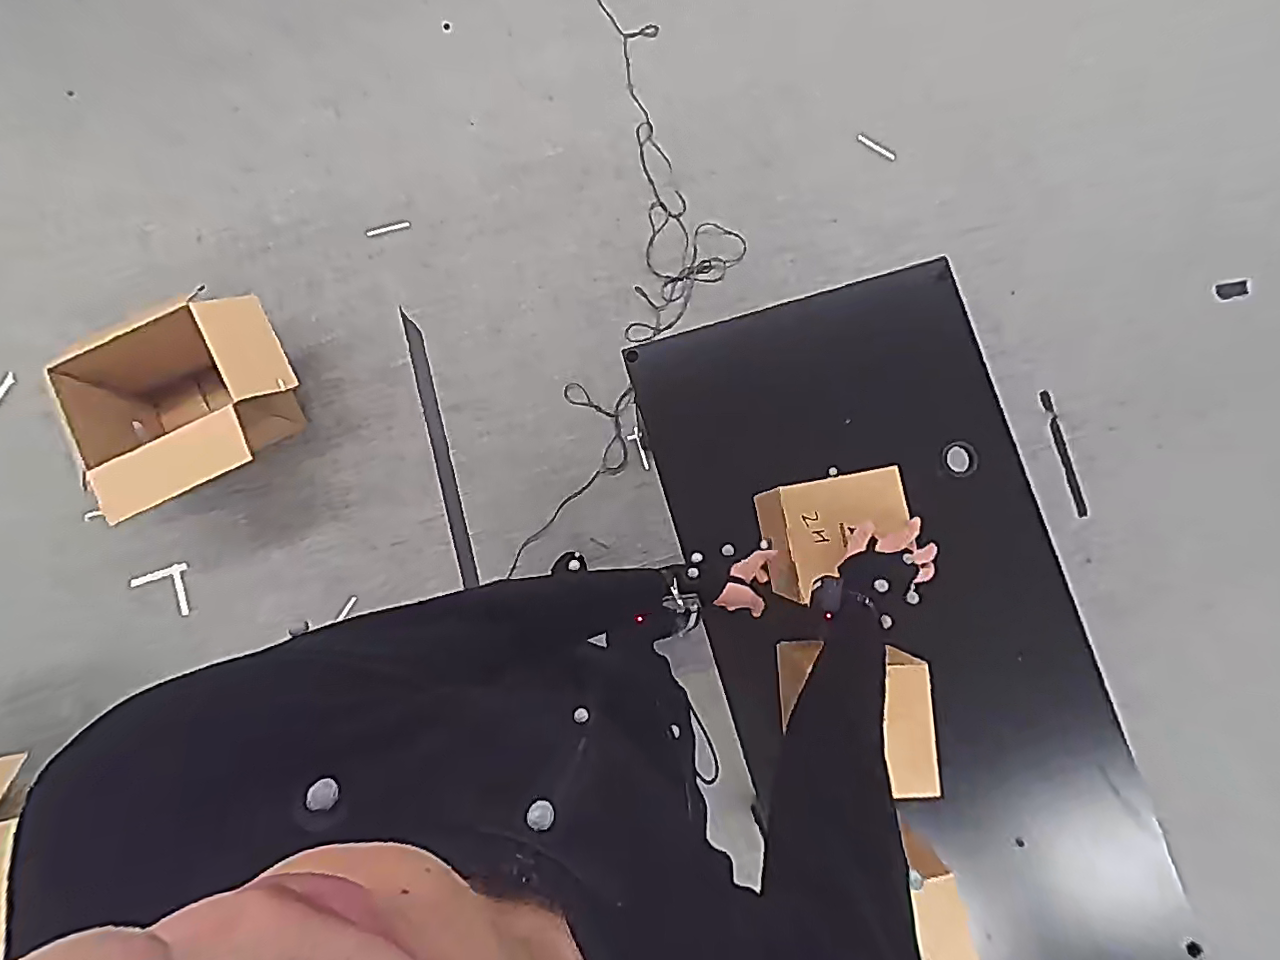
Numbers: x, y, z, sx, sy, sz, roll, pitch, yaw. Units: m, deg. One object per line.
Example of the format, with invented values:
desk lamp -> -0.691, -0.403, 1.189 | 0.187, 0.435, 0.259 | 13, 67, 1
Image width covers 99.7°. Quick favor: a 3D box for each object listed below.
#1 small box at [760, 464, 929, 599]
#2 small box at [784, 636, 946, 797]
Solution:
small box -> 0.298, 0.077, 0.825 | 0.179, 0.176, 0.168 | -11, 84, 0
small box -> 0.319, 0.338, 0.800 | 0.168, 0.176, 0.179 | -3, 83, 0
